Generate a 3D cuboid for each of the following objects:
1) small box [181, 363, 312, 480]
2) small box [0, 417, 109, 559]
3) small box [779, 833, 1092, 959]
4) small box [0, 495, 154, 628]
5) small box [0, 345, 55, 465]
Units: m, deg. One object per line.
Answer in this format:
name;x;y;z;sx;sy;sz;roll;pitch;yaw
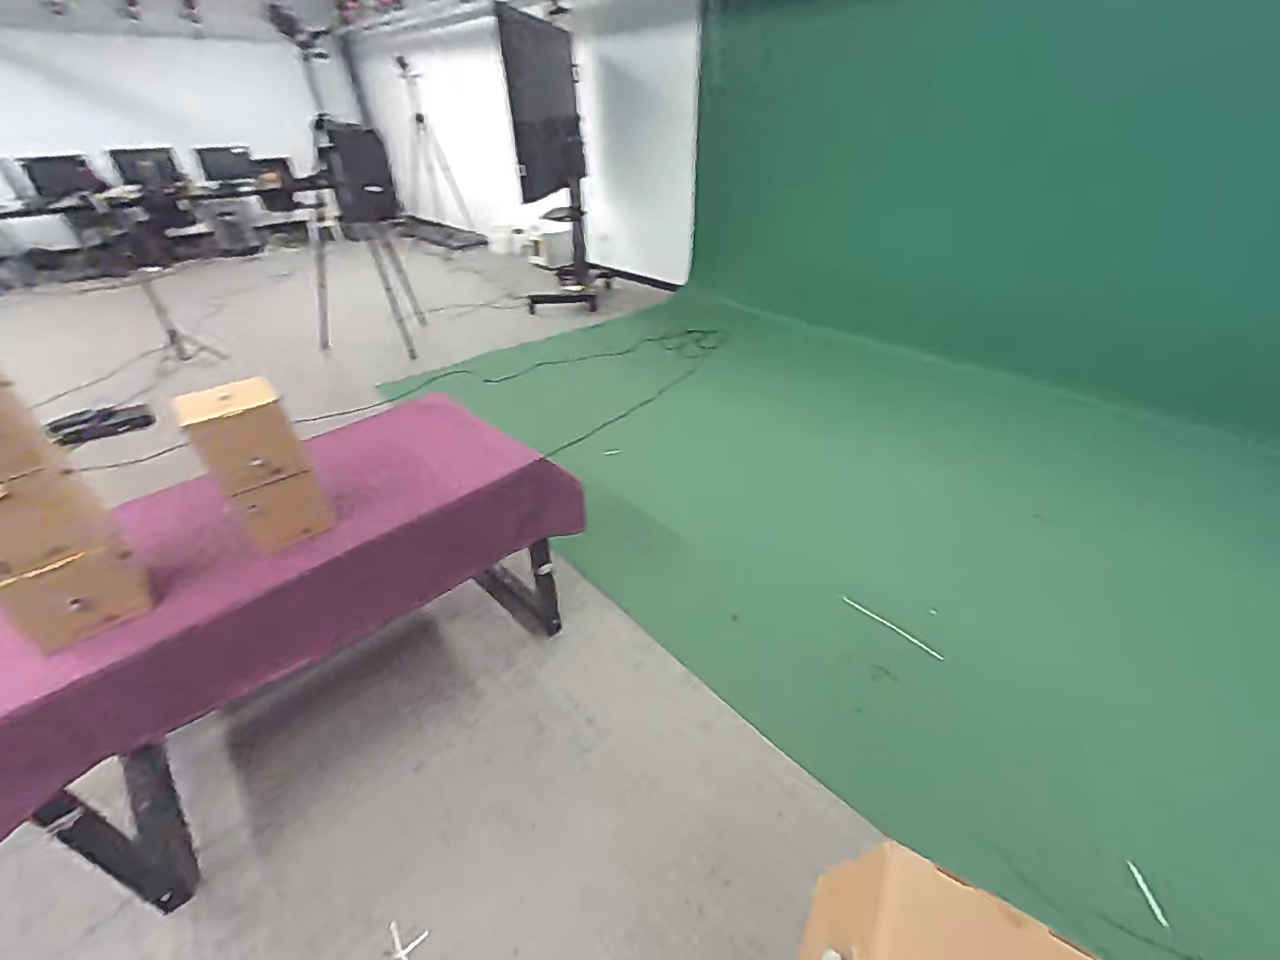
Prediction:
small box;-0.828;-0.125;1.143;0.168;0.176;0.179;-26;43;-31
small box;-1.080;0.017;0.947;0.168;0.176;0.179;-27;42;-32
small box;0.191;0.397;0.376;0.168;0.176;0.179;24;47;15
small box;-1.076;0.156;1.035;0.168;0.176;0.179;-27;44;-34
small box;-1.079;-0.115;0.851;0.168;0.176;0.179;-28;43;-34
